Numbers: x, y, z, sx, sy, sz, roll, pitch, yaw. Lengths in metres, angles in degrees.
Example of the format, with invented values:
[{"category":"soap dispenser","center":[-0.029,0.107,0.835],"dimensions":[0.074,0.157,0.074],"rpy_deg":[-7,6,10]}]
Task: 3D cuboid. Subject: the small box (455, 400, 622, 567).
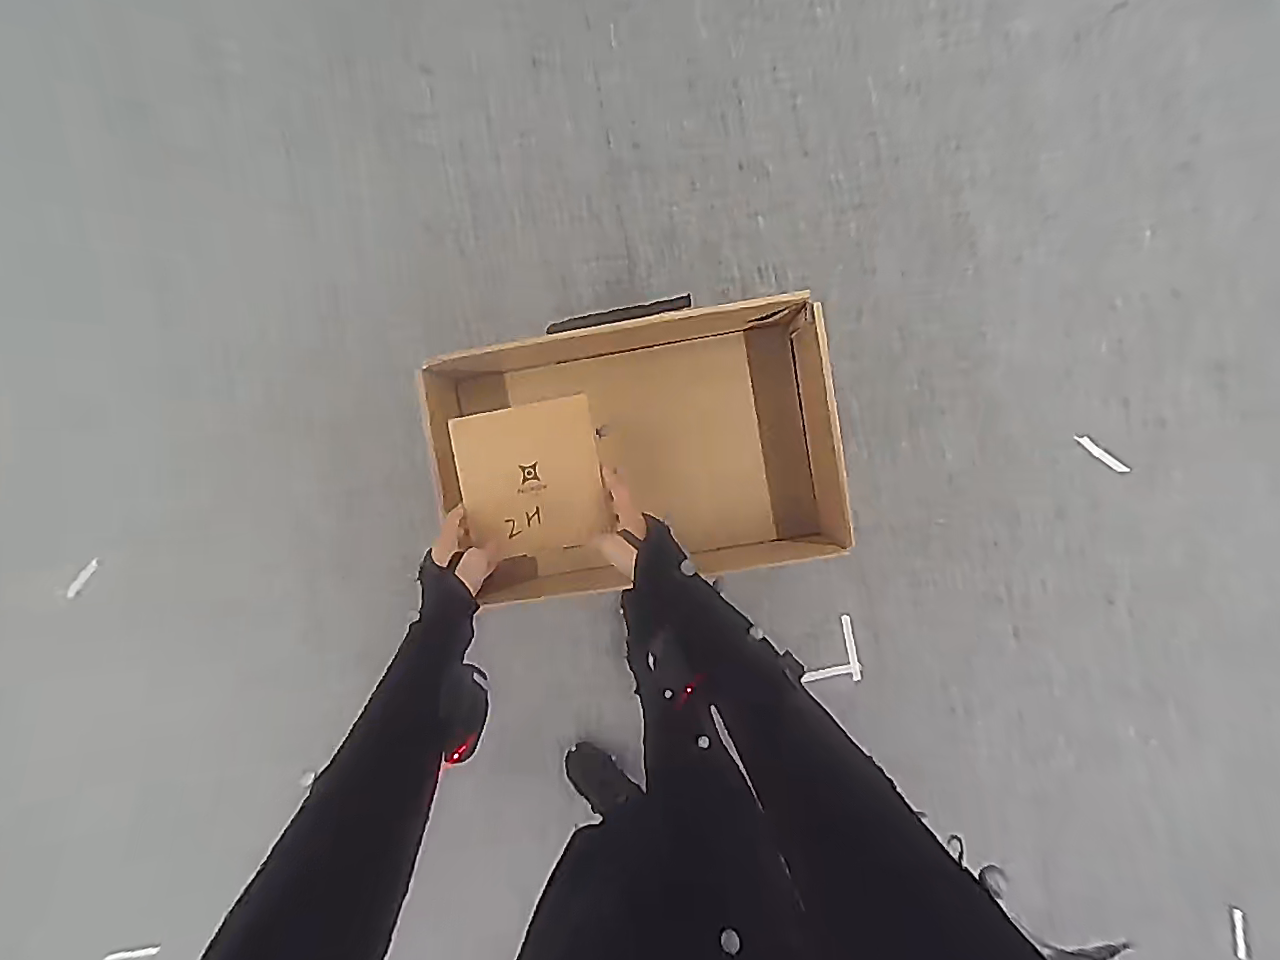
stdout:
[{"category":"small box","center":[-0.121,0.001,0.709],"dimensions":[0.168,0.176,0.179],"rpy_deg":[-10,93,3]}]
